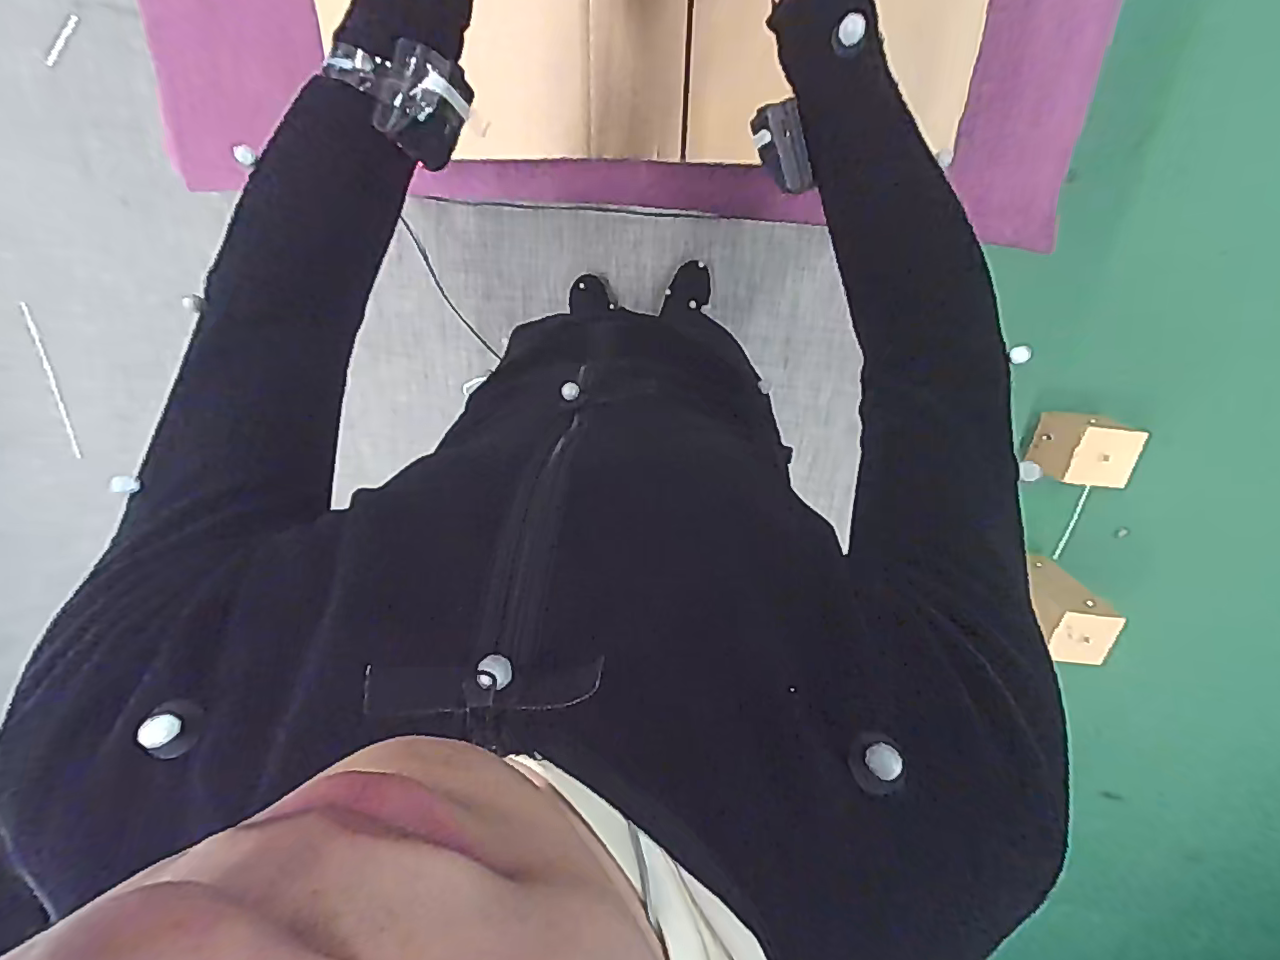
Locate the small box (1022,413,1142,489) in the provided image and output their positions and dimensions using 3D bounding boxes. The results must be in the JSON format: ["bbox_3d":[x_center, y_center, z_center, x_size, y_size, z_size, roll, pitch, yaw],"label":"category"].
[{"bbox_3d":[1.263,-0.088,1.558,0.179,0.176,0.168,5,112,-1],"label":"small box"}]

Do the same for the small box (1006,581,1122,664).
[{"bbox_3d":[1.231,0.412,1.583,0.179,0.176,0.168,6,112,-2],"label":"small box"}]
